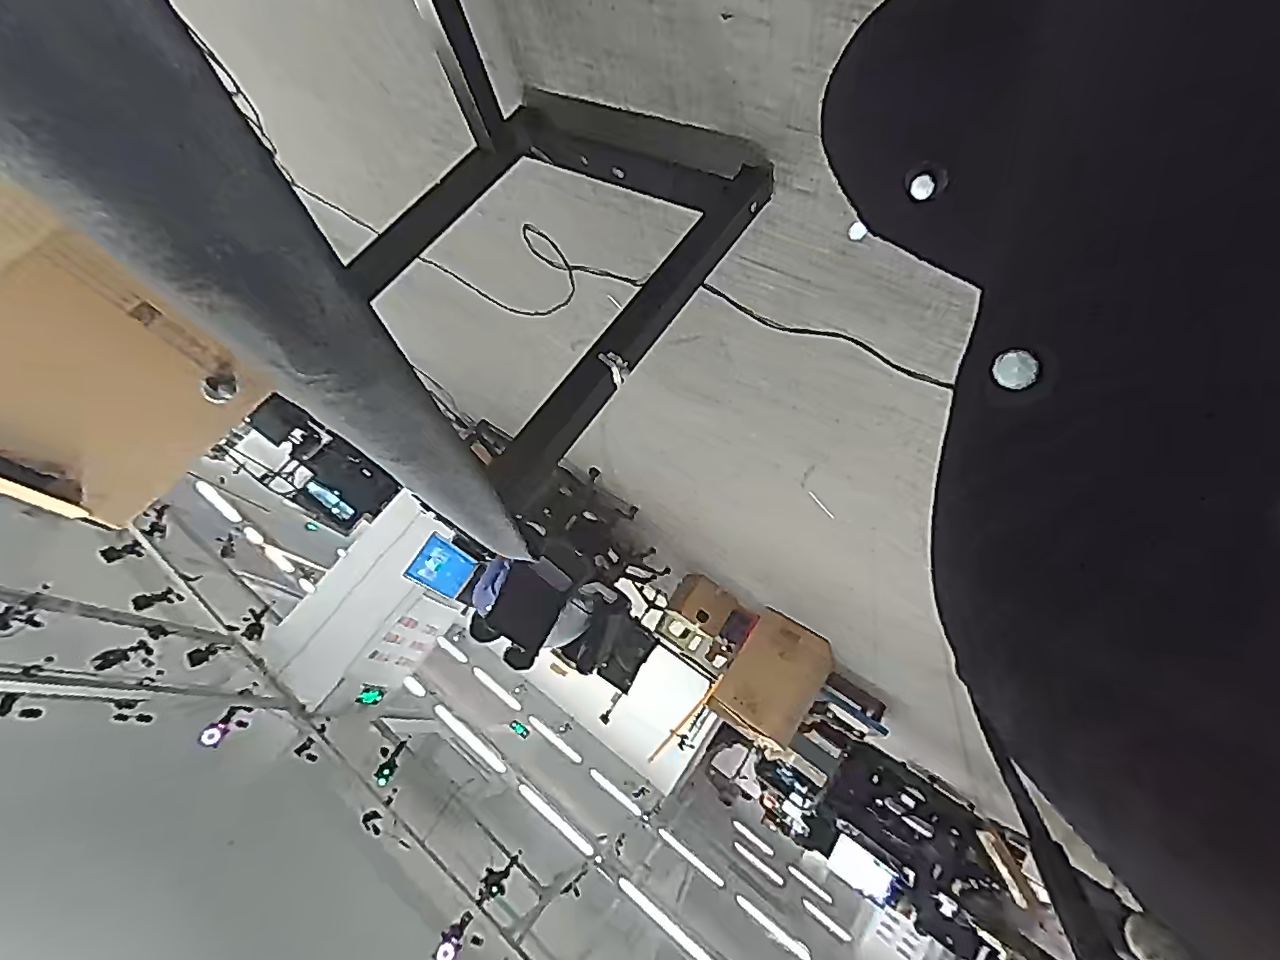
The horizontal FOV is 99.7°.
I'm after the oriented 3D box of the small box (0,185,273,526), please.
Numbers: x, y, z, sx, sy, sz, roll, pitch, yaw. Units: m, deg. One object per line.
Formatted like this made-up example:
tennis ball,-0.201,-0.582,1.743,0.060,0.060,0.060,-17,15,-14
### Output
small box,-0.442,-0.098,0.428,0.179,0.176,0.168,31,163,26
